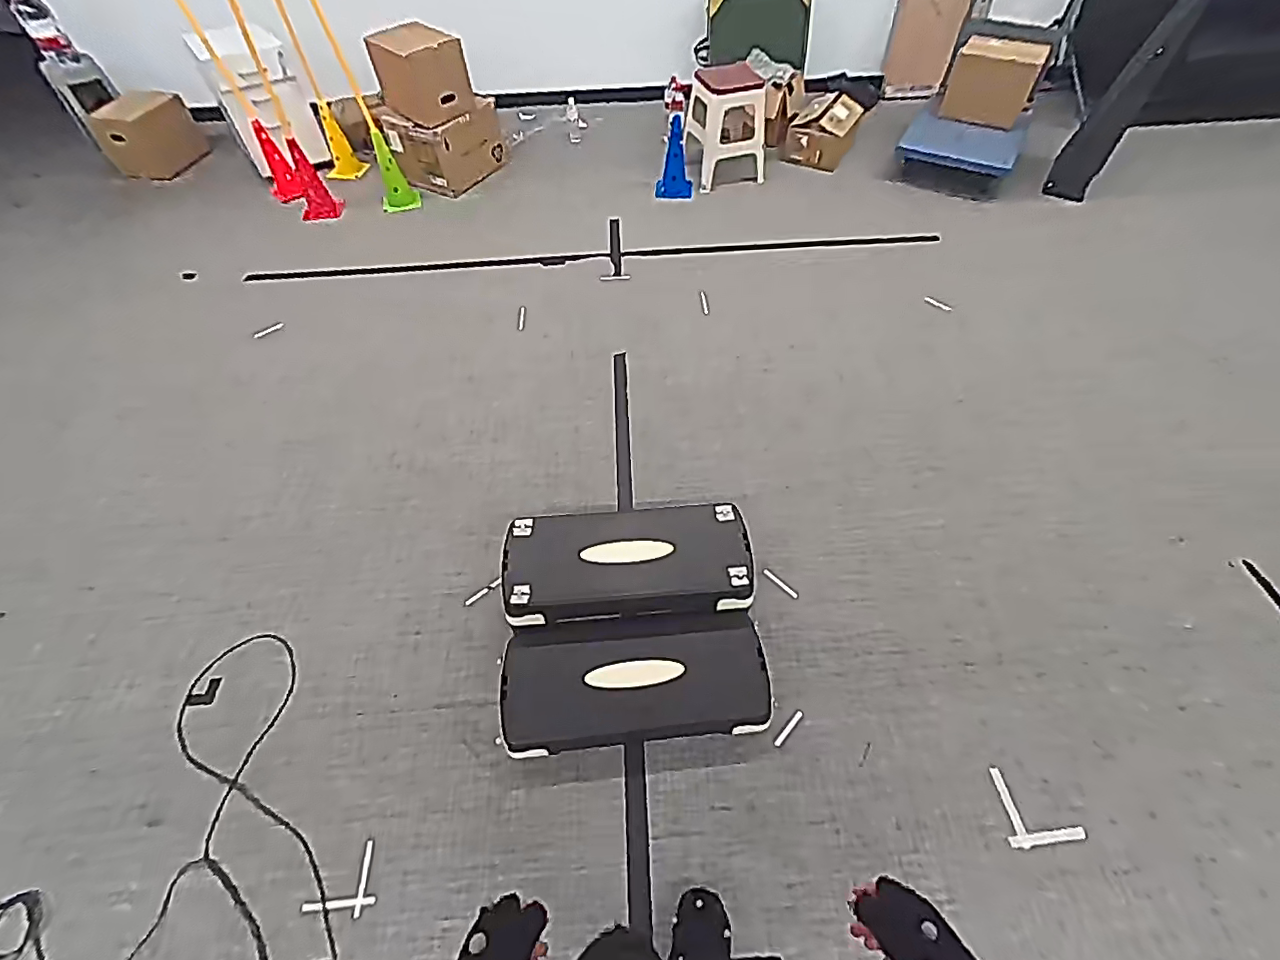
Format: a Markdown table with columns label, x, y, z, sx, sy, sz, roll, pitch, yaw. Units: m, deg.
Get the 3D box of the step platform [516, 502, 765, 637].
| label | x | y | z | sx | sy | sz | roll | pitch | yaw |
| --- | --- | --- | --- | --- | --- | --- | --- | --- | --- |
| step platform | 0.000 | 0.245 | 1.522 | 0.684 | 0.204 | 0.286 | -4 | 53 | -3 |
